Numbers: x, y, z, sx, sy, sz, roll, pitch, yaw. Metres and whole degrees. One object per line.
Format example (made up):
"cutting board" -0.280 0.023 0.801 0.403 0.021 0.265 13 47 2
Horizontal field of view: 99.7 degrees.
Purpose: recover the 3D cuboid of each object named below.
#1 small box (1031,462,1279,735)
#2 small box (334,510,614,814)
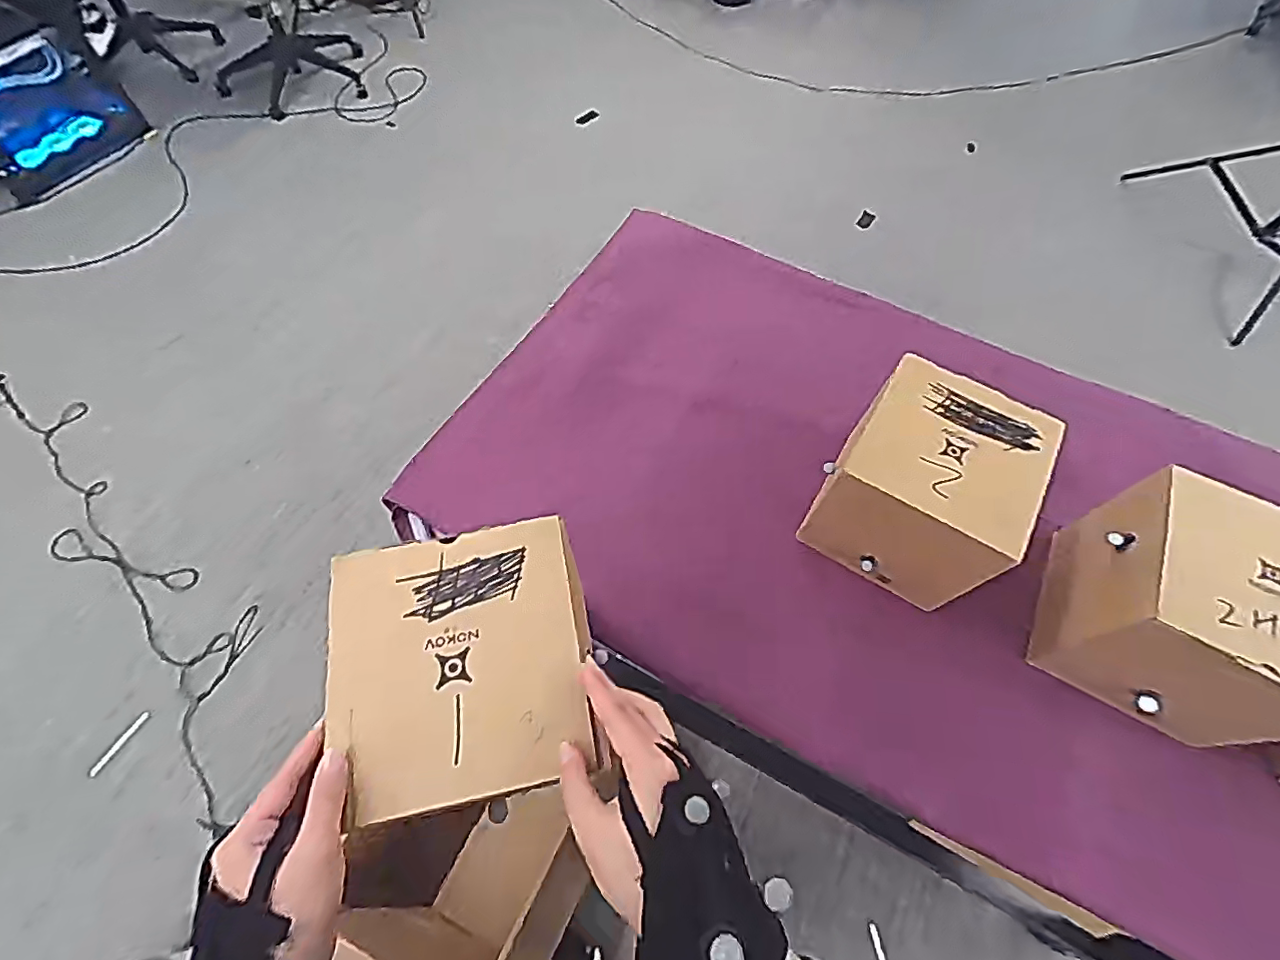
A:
"small box" 0.525 0.121 0.527 0.168 0.176 0.179 27 64 14
"small box" -0.115 0.147 0.432 0.168 0.176 0.179 -10 63 -6
